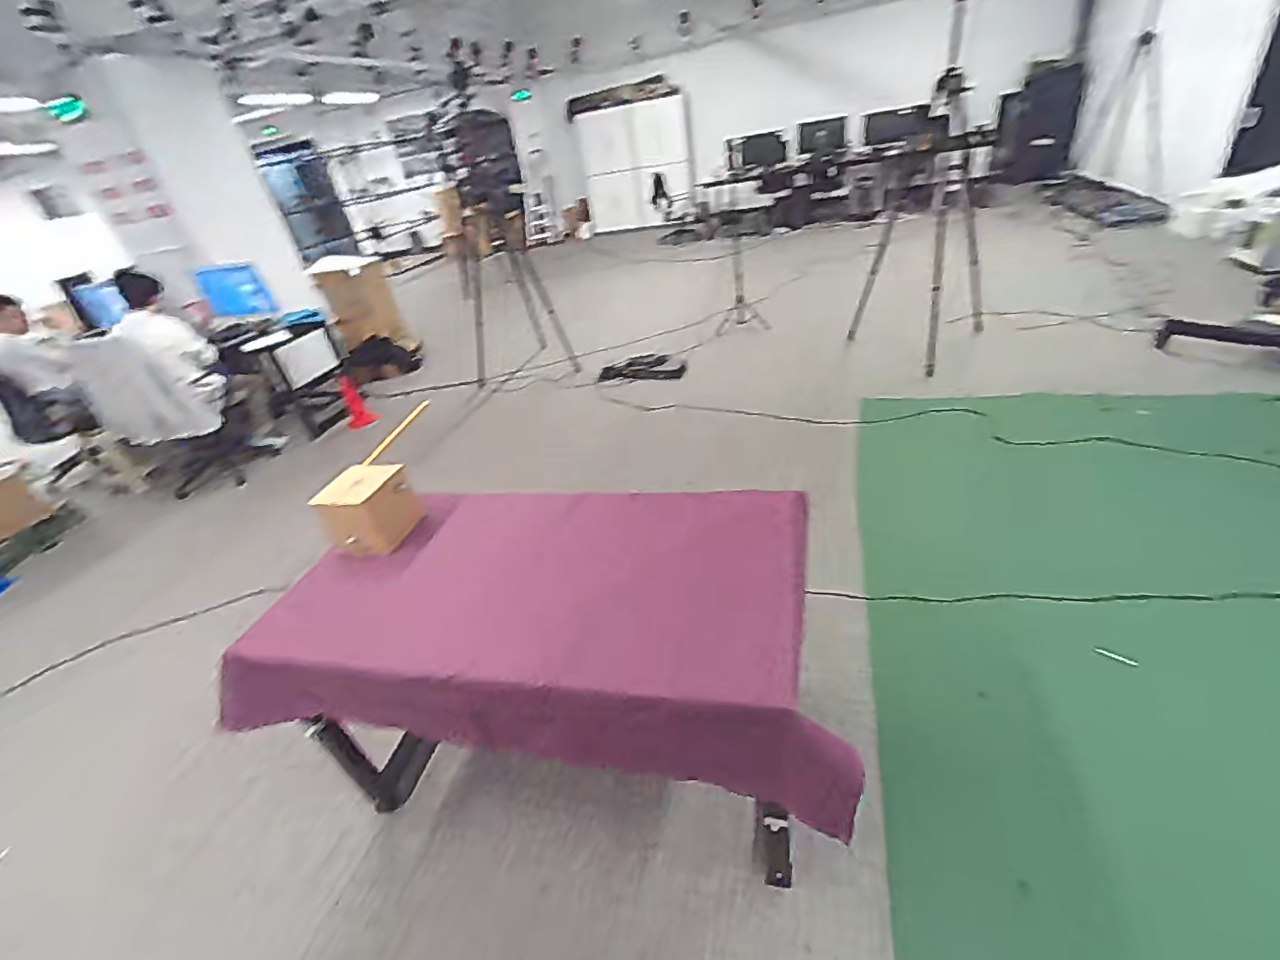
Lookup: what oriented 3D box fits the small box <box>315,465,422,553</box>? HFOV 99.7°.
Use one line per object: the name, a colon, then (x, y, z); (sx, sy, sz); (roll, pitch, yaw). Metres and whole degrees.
small box: (-0.713, 0.075, 1.448); (0.168, 0.176, 0.179); (0, 34, 16)
